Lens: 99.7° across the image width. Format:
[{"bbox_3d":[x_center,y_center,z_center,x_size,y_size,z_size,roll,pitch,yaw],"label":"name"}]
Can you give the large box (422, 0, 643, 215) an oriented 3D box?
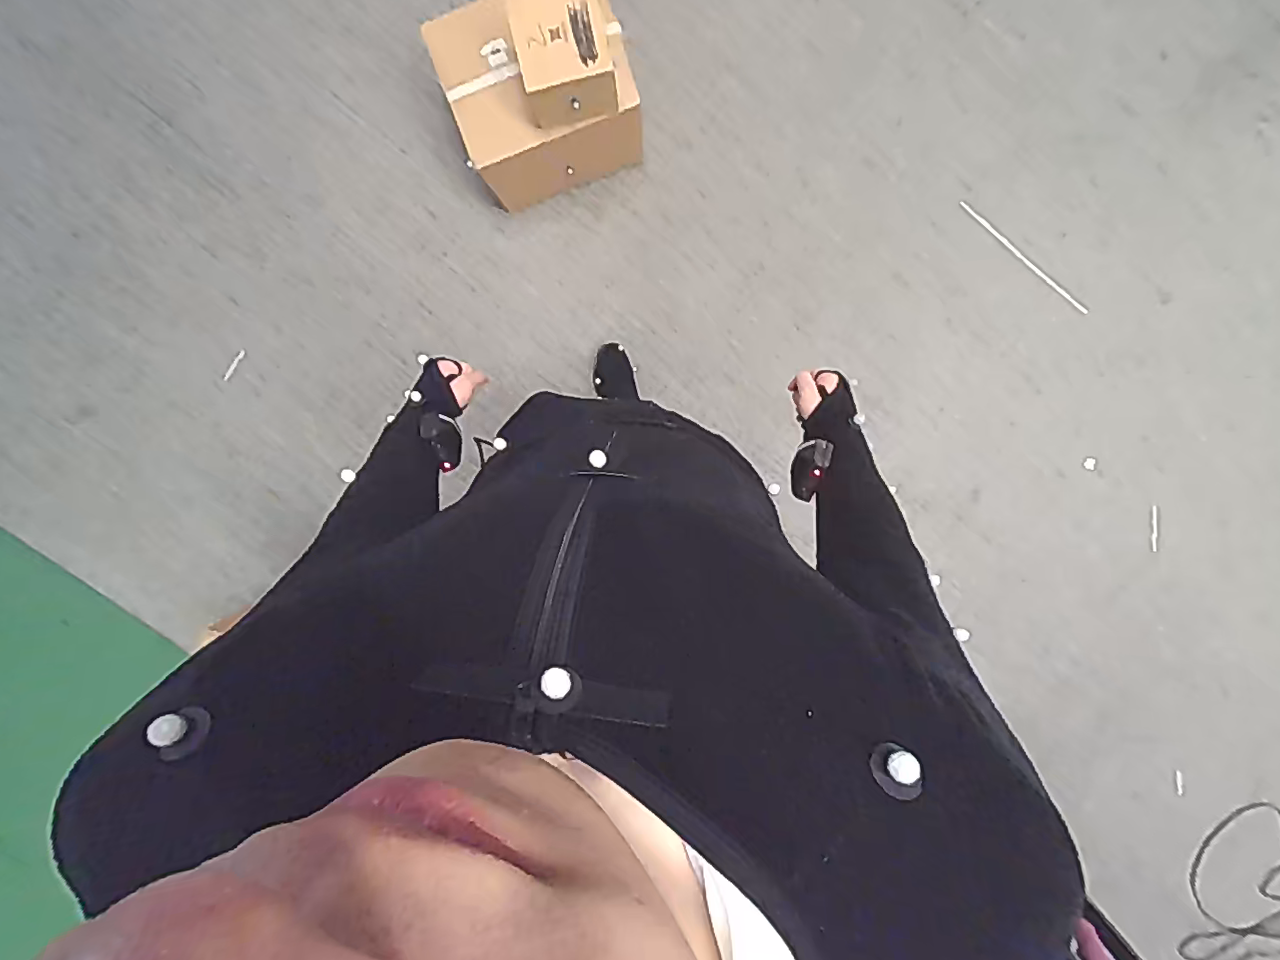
[{"bbox_3d":[-0.231,-0.913,1.319,0.408,0.320,0.320,-20,98,5],"label":"large box"}]
